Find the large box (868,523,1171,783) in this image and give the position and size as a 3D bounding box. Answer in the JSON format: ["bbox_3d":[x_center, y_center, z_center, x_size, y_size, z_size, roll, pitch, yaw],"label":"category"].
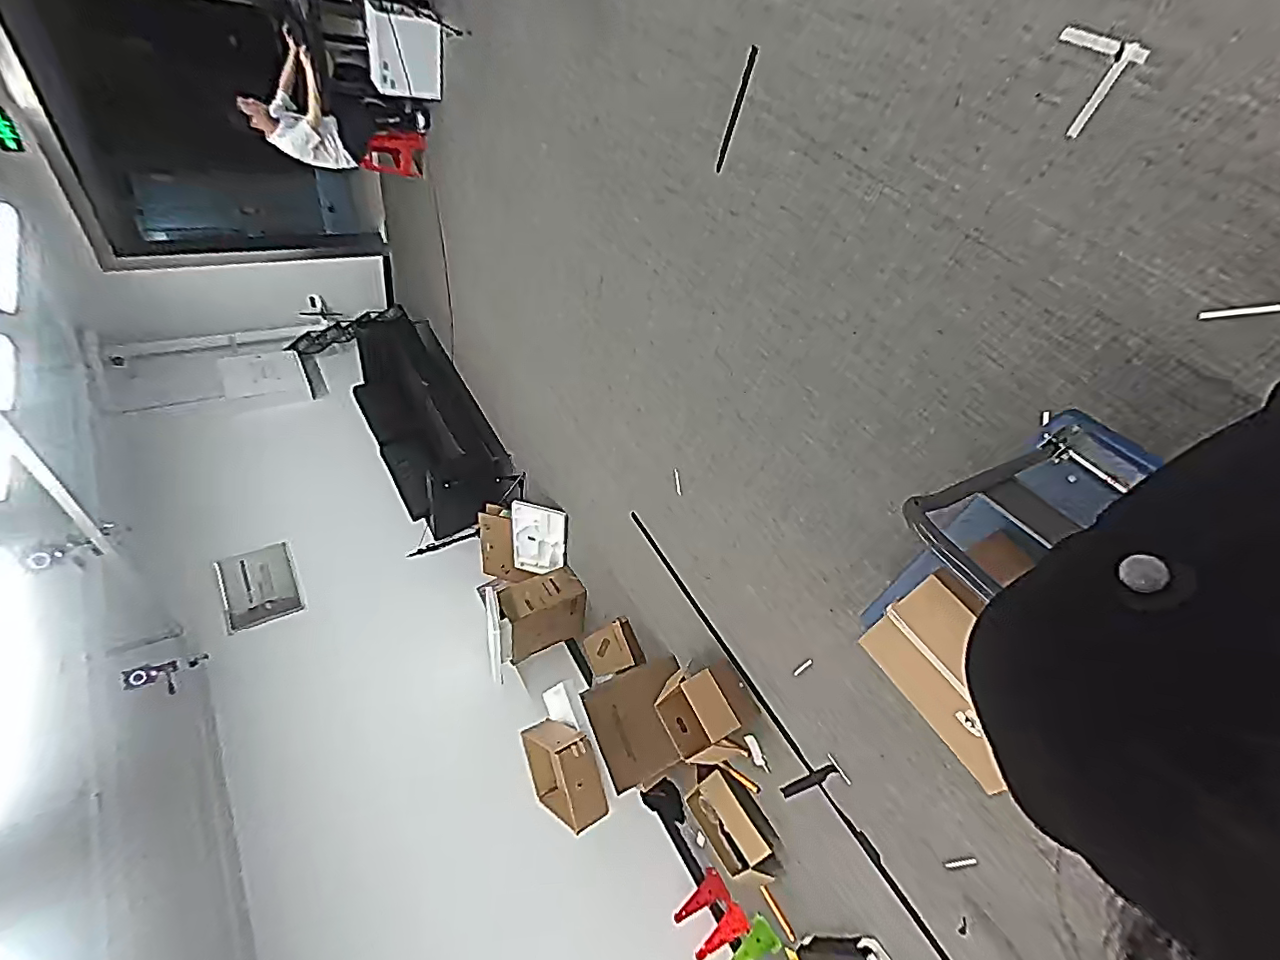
[{"bbox_3d":[0.828,0.372,1.224,0.408,0.320,0.320,52,145,29],"label":"large box"}]
